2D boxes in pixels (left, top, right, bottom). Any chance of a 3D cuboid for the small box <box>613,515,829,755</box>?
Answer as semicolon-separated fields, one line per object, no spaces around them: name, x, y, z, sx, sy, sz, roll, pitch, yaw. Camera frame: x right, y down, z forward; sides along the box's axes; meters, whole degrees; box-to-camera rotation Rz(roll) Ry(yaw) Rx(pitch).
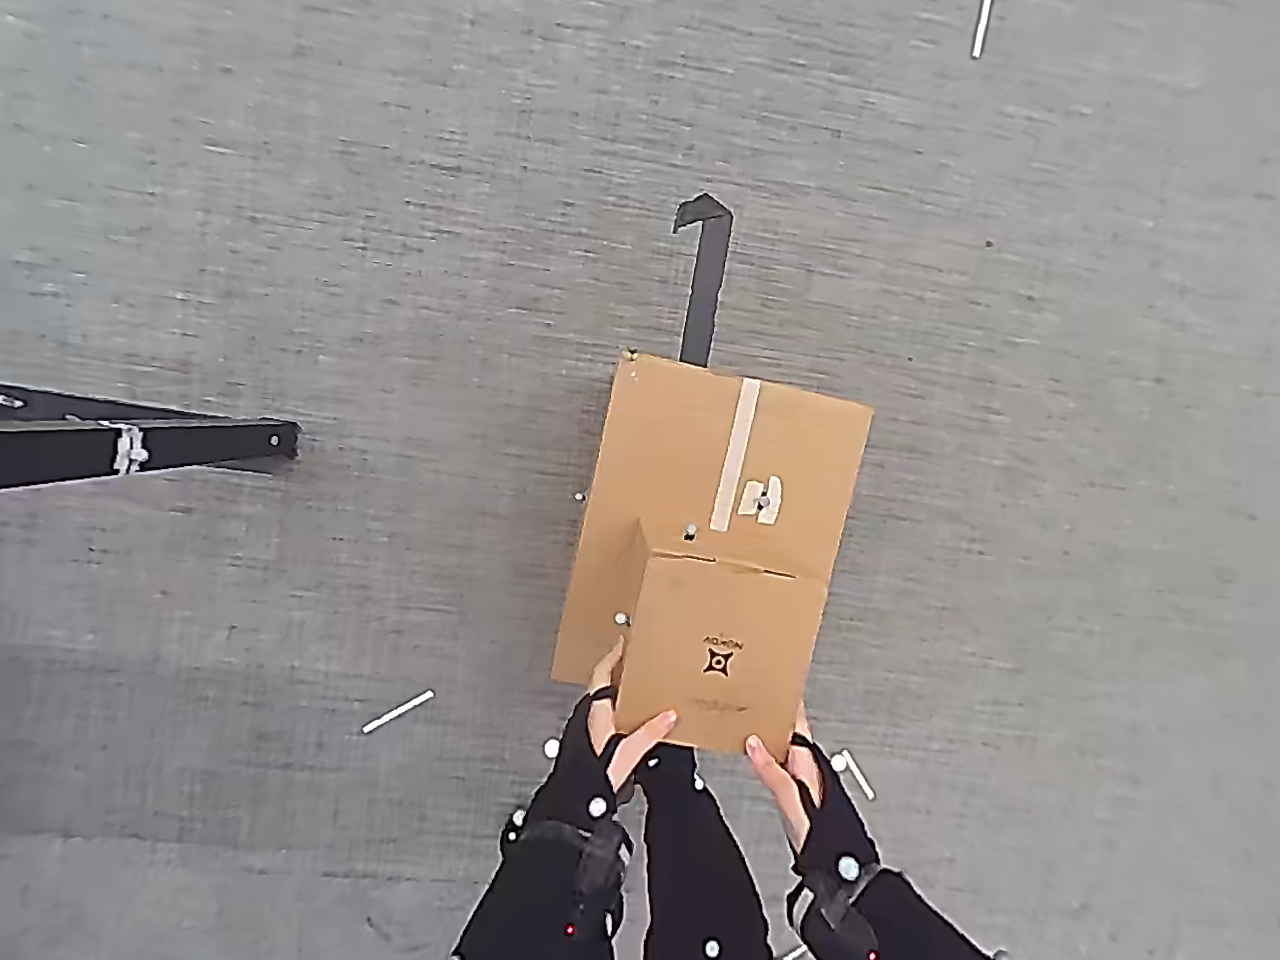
small box;0.067;0.143;0.560;0.168;0.176;0.179;12;96;-4

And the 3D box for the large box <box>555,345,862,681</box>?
large box;0.071;0.053;0.798;0.320;0.320;0.408;12;94;-7
